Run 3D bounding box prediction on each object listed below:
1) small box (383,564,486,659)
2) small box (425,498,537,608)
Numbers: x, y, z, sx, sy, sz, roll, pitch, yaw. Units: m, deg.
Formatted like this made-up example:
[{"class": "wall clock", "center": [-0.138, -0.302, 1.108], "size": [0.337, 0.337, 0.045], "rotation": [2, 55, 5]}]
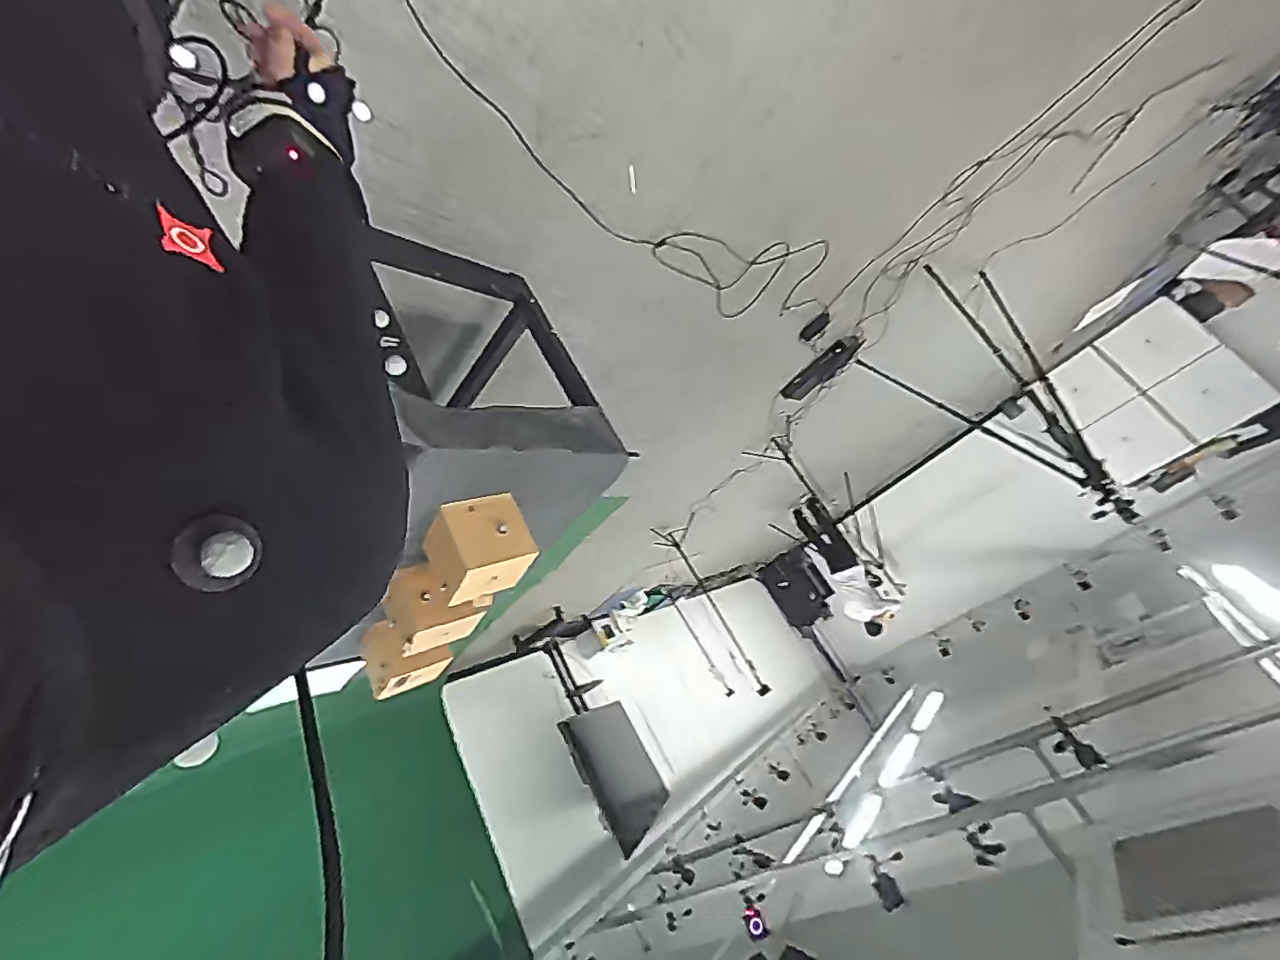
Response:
[{"class": "small box", "center": [-0.523, 0.316, 1.361], "size": [0.179, 0.176, 0.168], "rotation": [-11, 153, -43]}, {"class": "small box", "center": [-0.363, 0.154, 1.213], "size": [0.168, 0.176, 0.179], "rotation": [-12, 152, -41]}]
